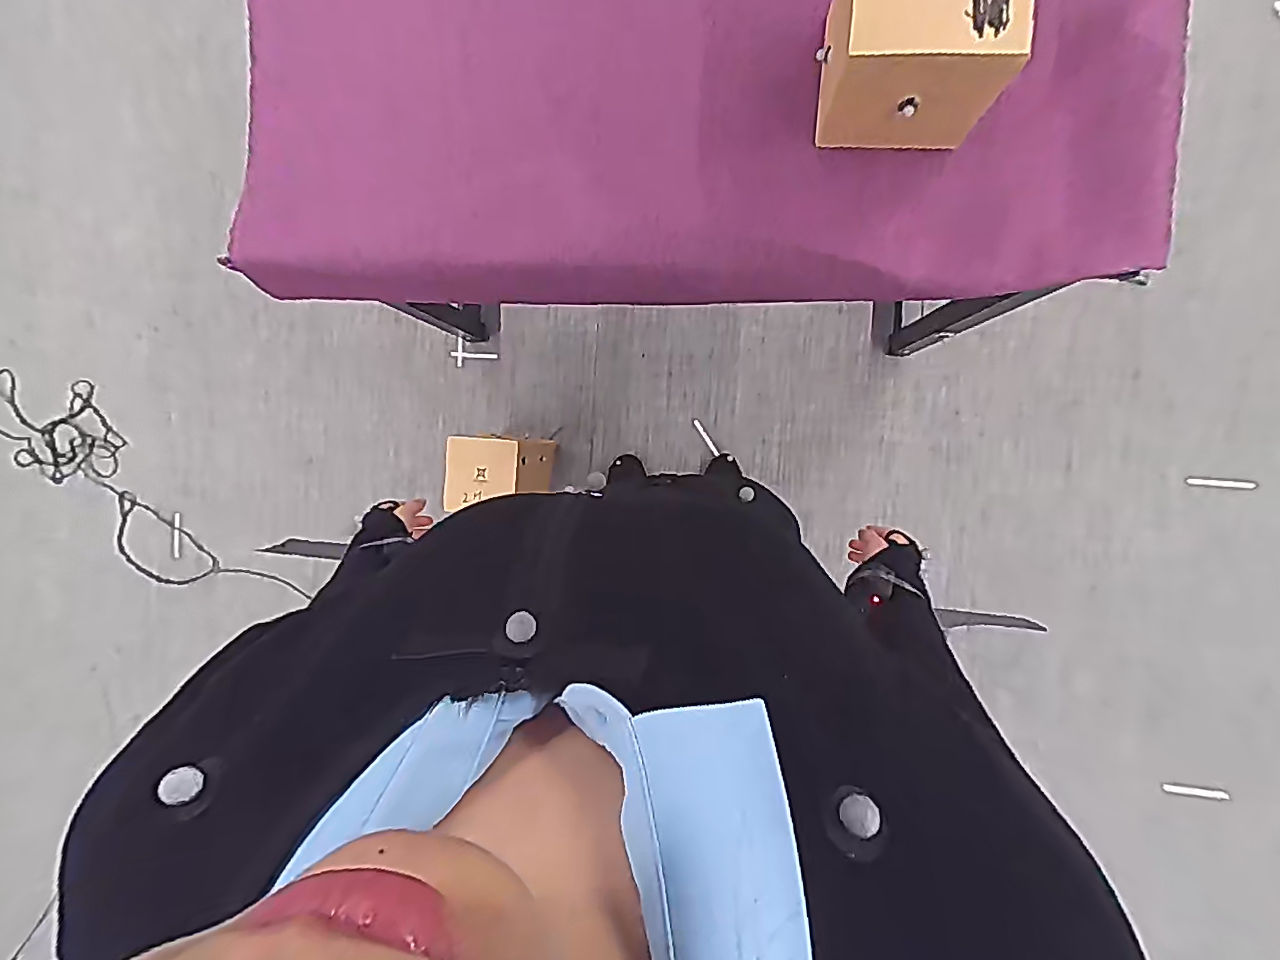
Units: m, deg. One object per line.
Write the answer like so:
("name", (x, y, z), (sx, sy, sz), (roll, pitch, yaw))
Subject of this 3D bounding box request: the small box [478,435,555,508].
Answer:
("small box", (-0.335, -0.020, 1.446), (0.168, 0.176, 0.179), (10, 94, 5))

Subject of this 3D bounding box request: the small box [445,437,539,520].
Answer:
("small box", (-0.344, -0.007, 1.282), (0.168, 0.176, 0.179), (4, 94, 5))
